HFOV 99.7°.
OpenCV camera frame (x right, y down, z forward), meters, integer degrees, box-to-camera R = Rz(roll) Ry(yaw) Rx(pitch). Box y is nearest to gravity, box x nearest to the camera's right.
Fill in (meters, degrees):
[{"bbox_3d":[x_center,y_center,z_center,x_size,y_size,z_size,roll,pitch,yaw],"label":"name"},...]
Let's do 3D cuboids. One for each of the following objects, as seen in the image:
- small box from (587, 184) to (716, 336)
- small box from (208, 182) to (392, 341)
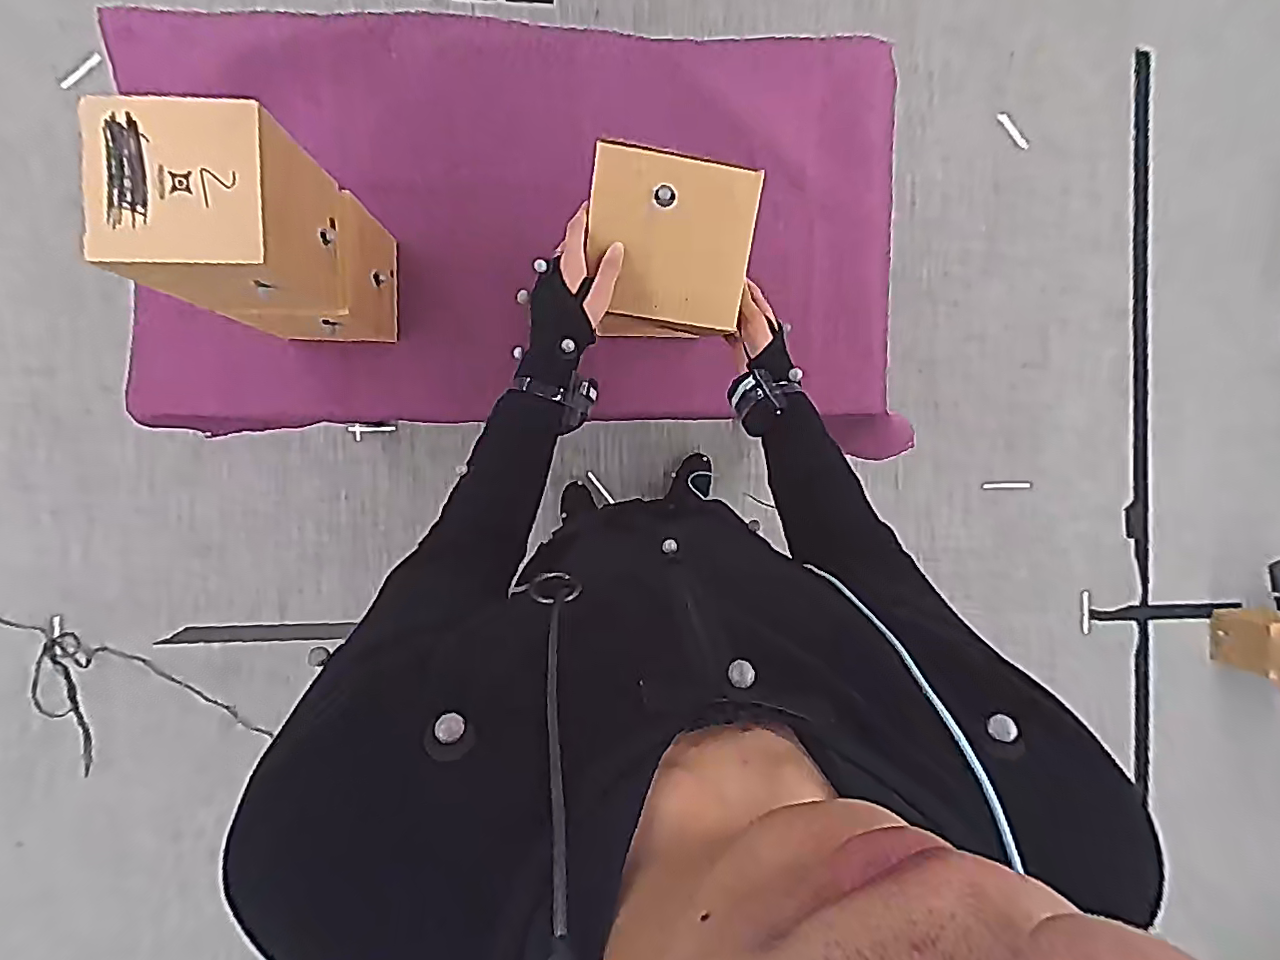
[{"bbox_3d":[0.012,-0.318,0.813,0.179,0.176,0.168,0,92,-4],"label":"small box"},{"bbox_3d":[-0.475,-0.302,0.783,0.179,0.176,0.168,1,92,-4],"label":"small box"}]
